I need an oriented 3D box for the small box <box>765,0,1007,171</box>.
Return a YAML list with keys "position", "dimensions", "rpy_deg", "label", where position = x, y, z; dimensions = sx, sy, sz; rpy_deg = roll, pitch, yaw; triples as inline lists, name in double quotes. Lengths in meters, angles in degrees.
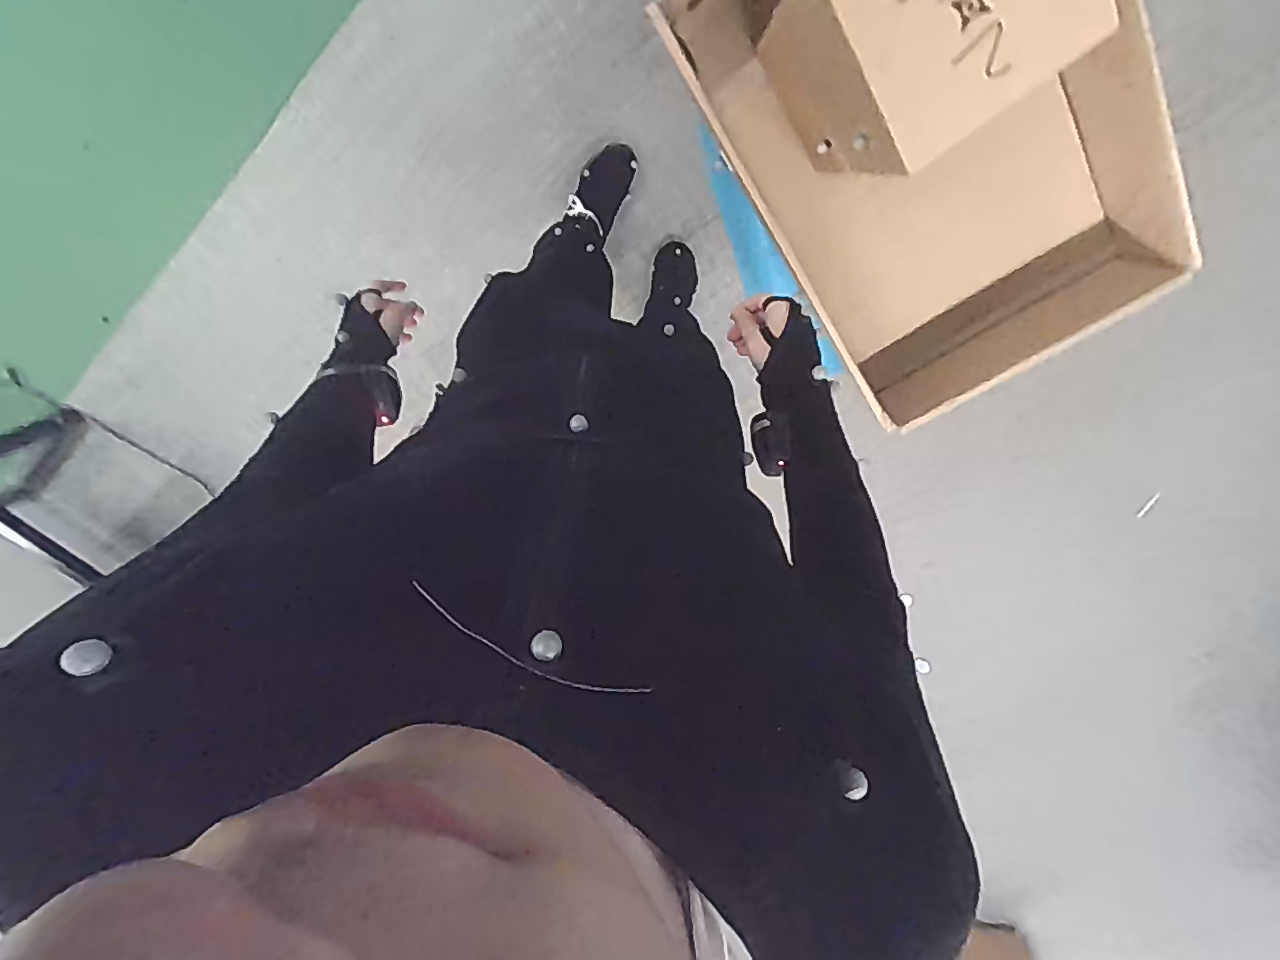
- position: [0.260, -0.479, 0.610]
  dimensions: [0.168, 0.176, 0.179]
  rpy_deg: [-32, 114, 20]
  label: "small box"
